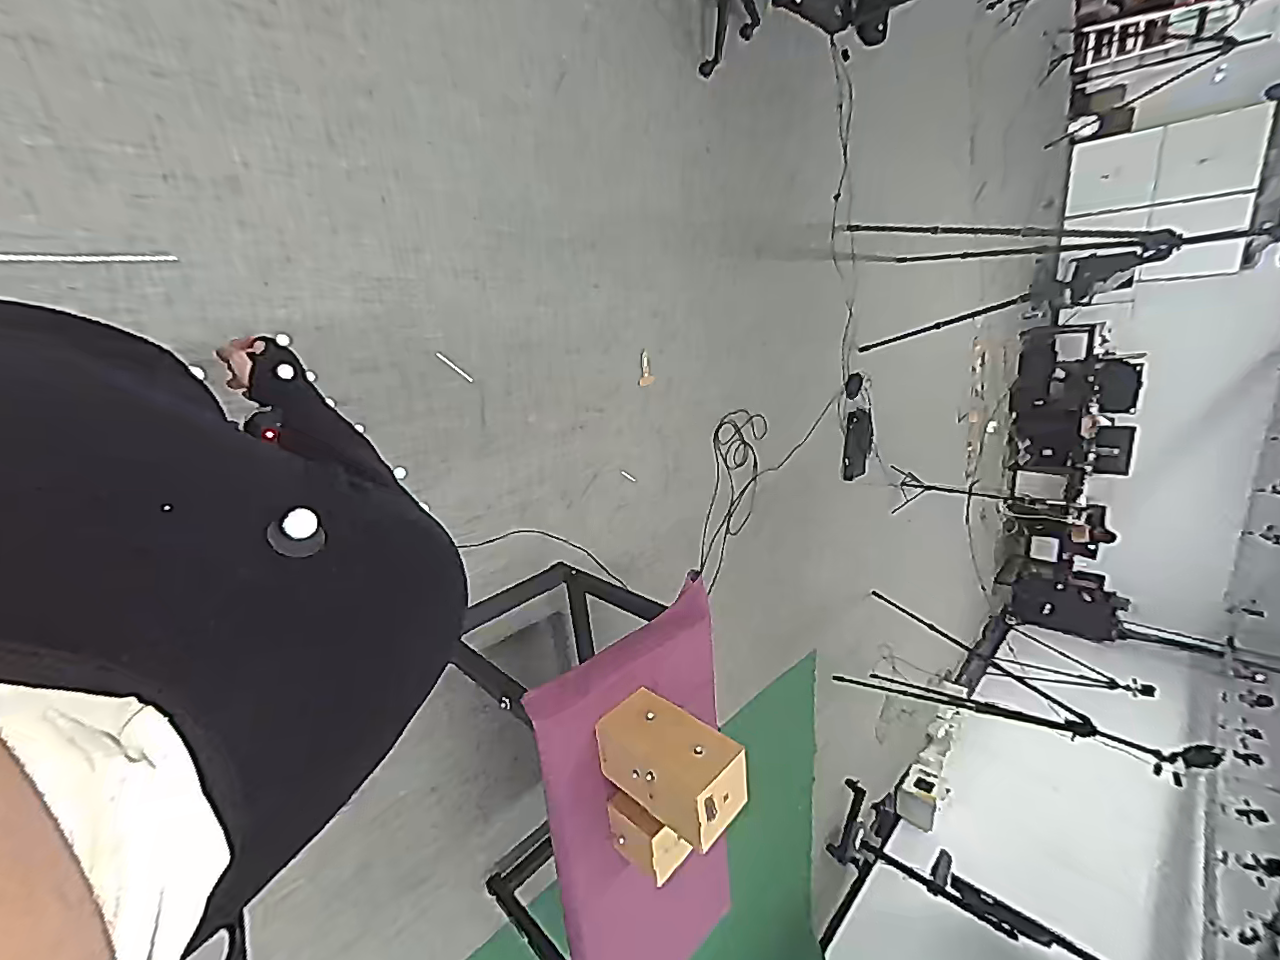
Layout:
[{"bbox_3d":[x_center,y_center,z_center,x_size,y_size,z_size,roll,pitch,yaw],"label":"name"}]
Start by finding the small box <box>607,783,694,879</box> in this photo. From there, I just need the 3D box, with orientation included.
[{"bbox_3d":[0.036,0.897,1.451,0.179,0.176,0.168,-23,114,-41],"label":"small box"}]

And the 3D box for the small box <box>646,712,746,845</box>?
[{"bbox_3d":[0.127,0.685,1.261,0.179,0.176,0.168,-23,115,-42],"label":"small box"}]

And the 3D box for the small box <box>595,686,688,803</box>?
[{"bbox_3d":[0.010,0.659,1.375,0.179,0.176,0.168,-23,114,-41],"label":"small box"}]
